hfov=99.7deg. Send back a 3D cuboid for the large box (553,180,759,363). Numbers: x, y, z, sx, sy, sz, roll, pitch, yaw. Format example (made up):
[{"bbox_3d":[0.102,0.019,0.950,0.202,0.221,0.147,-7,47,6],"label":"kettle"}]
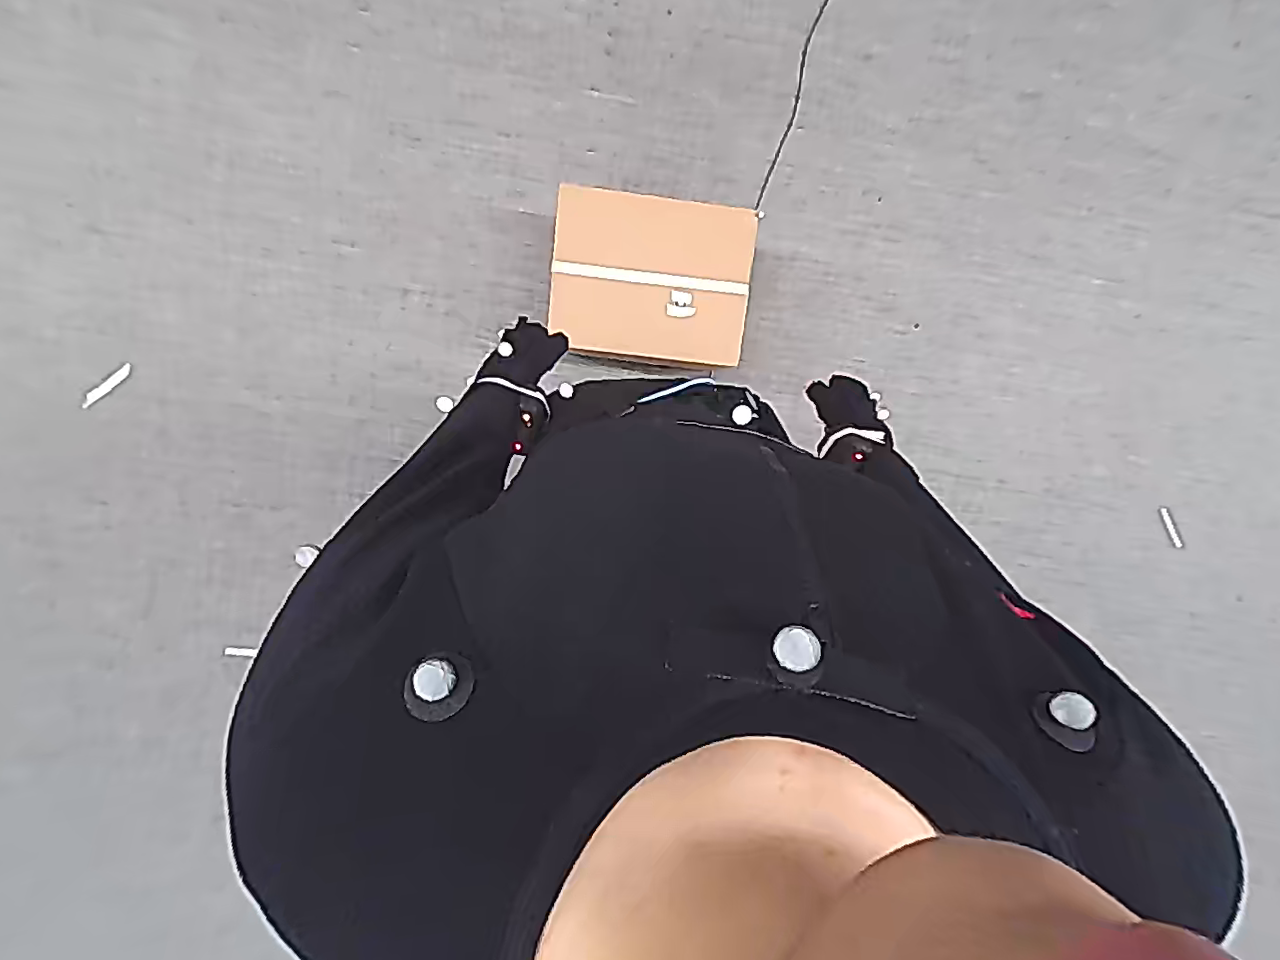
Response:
[{"bbox_3d":[0.020,-0.452,1.254,0.408,0.320,0.320,6,101,-4],"label":"large box"}]
